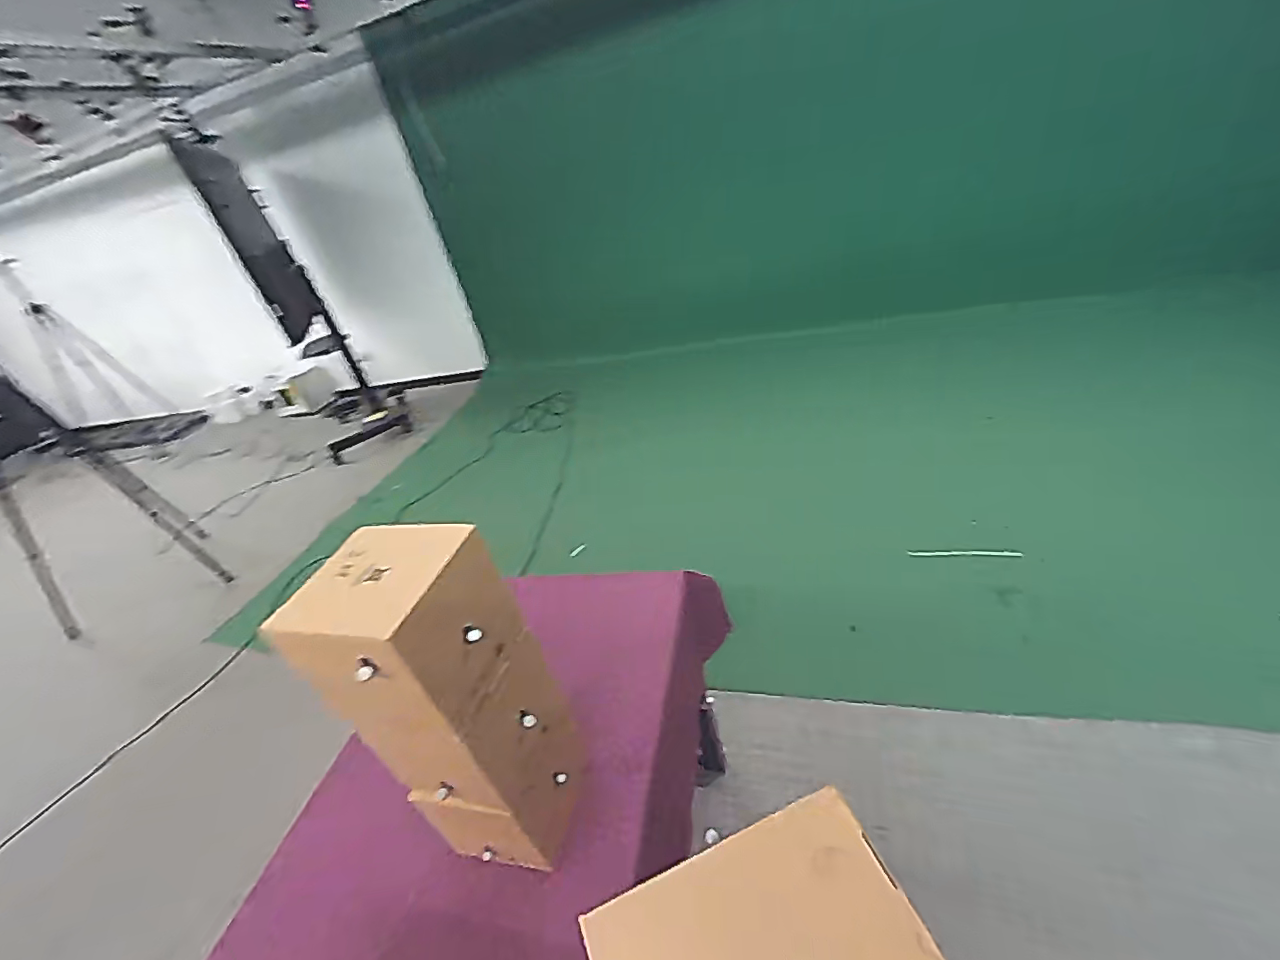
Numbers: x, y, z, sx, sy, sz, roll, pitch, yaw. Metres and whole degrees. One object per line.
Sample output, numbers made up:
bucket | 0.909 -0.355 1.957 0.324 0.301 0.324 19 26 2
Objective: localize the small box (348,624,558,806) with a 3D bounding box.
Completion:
small box | -0.231 0.303 0.721 0.179 0.176 0.168 -1 35 21

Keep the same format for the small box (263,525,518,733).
small box | -0.269 0.169 0.630 0.179 0.176 0.168 -3 35 21

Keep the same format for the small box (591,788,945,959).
small box | 0.086 0.329 0.334 0.179 0.176 0.168 -20 46 -9
